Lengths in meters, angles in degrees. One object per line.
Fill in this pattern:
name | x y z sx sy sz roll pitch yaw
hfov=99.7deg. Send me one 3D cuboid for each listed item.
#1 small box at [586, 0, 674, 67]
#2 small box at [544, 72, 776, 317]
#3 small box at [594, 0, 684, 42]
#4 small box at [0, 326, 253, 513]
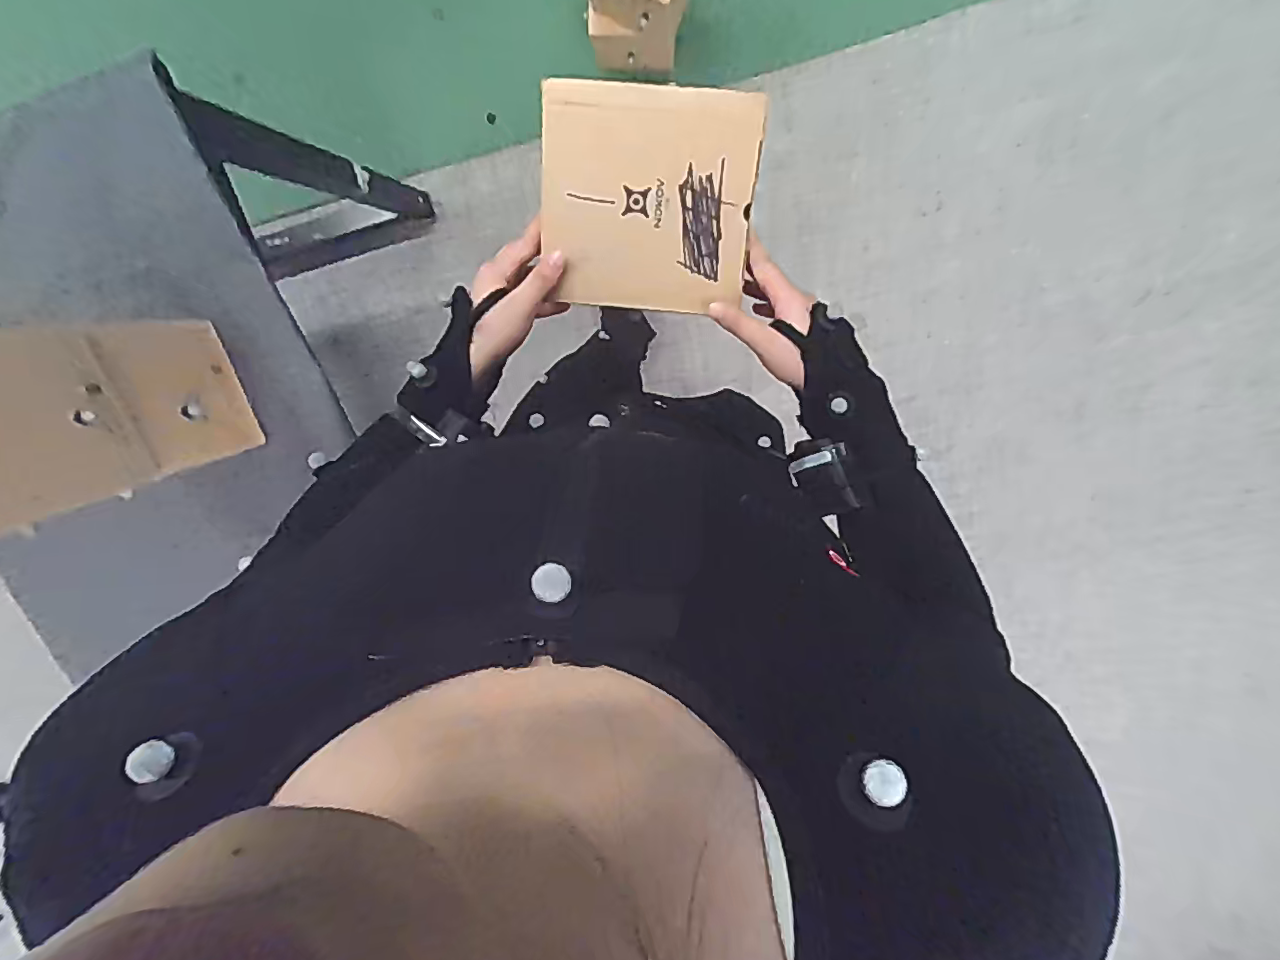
small box | -0.013 -0.961 1.083 0.168 0.176 0.179 3 109 2
small box | 0.014 -0.252 0.510 0.179 0.176 0.168 6 110 1
small box | 0.010 -0.910 0.927 0.168 0.176 0.179 23 108 -6
small box | -0.613 -0.081 0.646 0.179 0.176 0.168 -12 108 9
